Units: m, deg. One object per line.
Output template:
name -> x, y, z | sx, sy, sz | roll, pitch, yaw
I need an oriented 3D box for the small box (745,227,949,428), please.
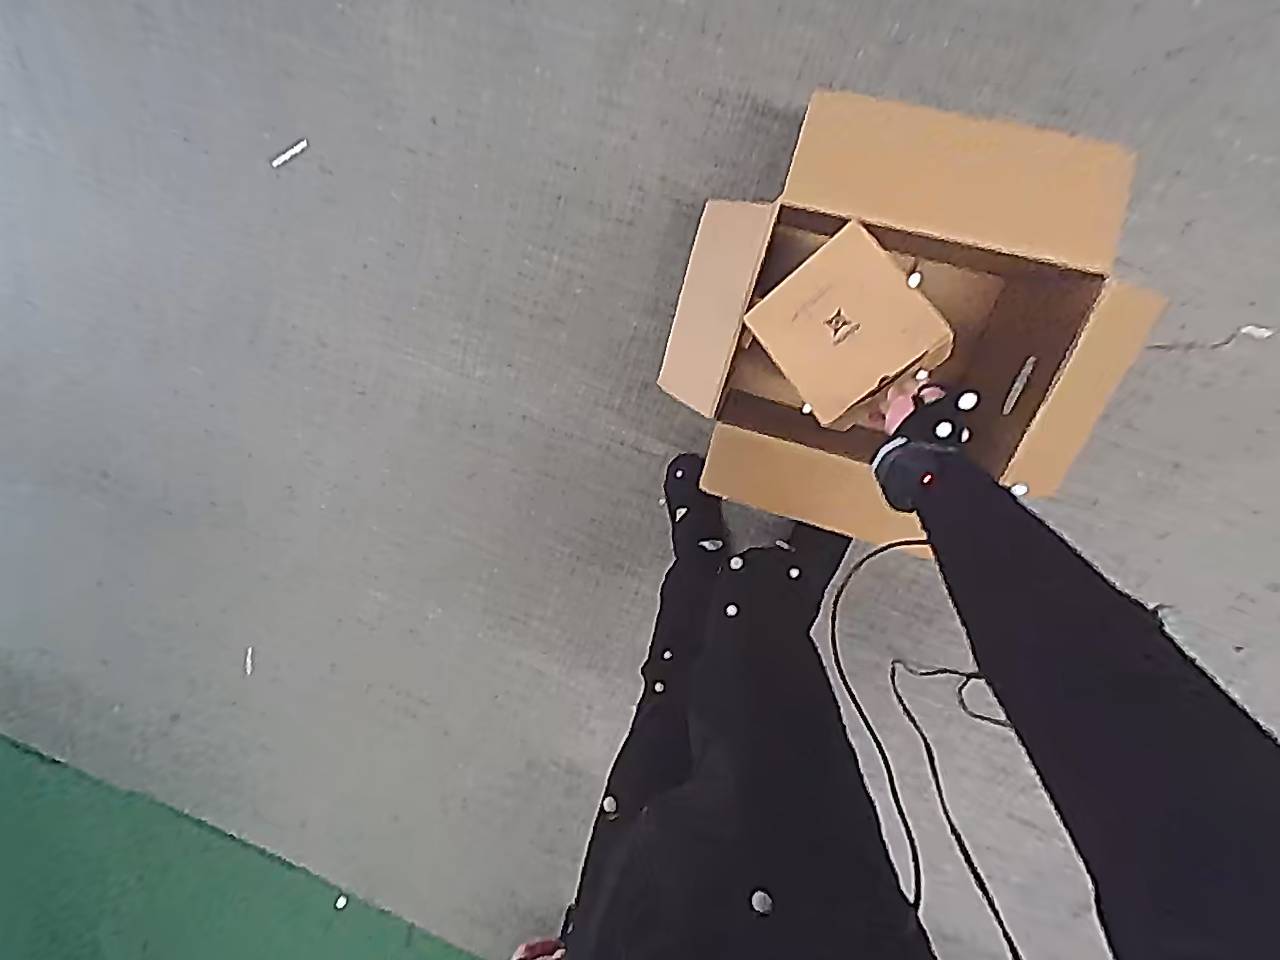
small box -> 0.272, -0.183, 0.706 | 0.168, 0.176, 0.179 | -39, 74, 23
